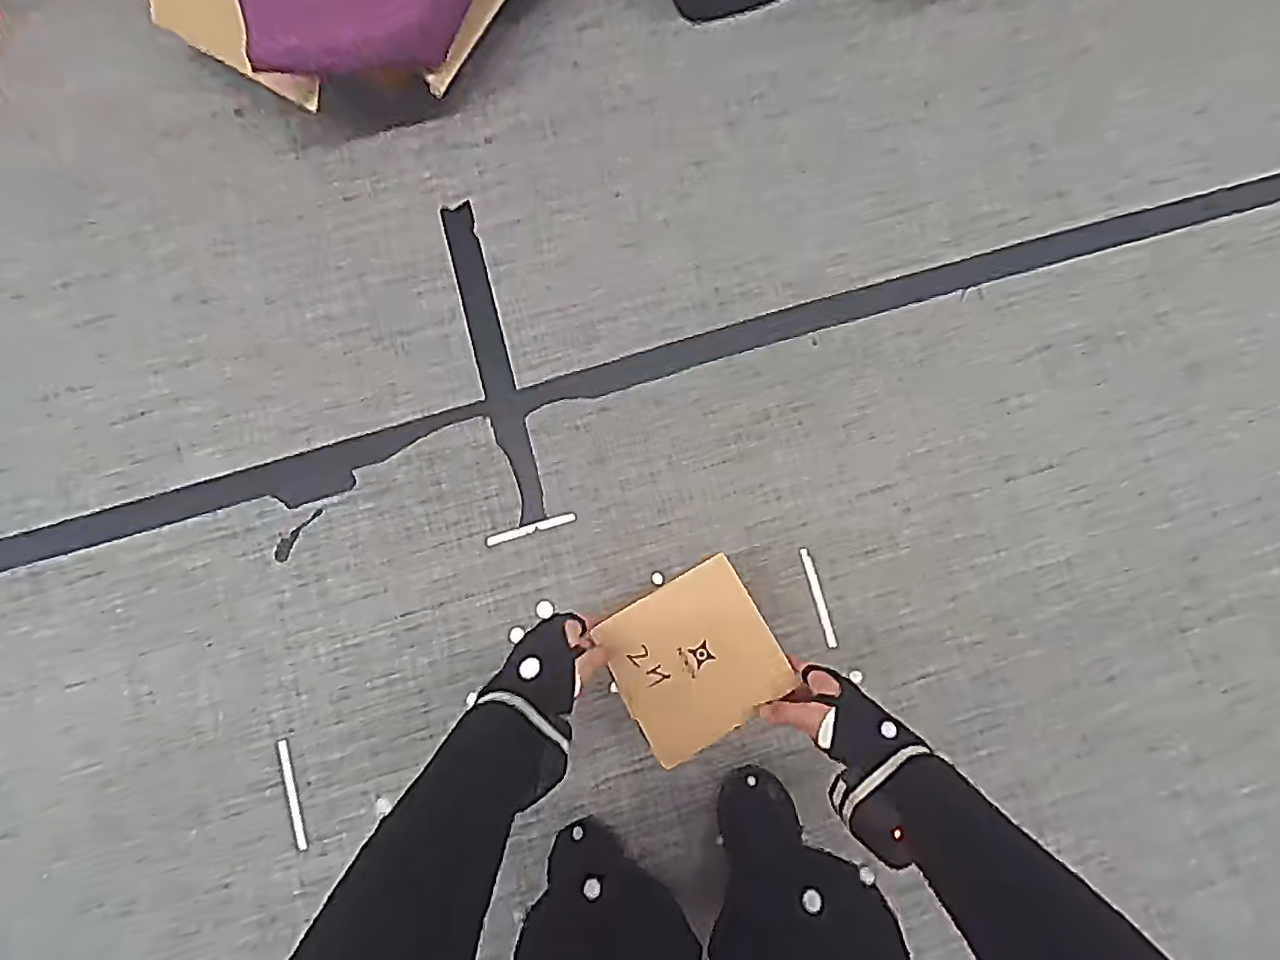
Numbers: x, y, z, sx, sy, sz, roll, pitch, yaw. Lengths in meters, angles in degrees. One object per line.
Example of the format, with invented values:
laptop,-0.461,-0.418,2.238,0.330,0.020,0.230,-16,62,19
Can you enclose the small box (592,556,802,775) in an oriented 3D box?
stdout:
small box,0.055,0.208,0.650,0.179,0.176,0.168,-28,80,-9
